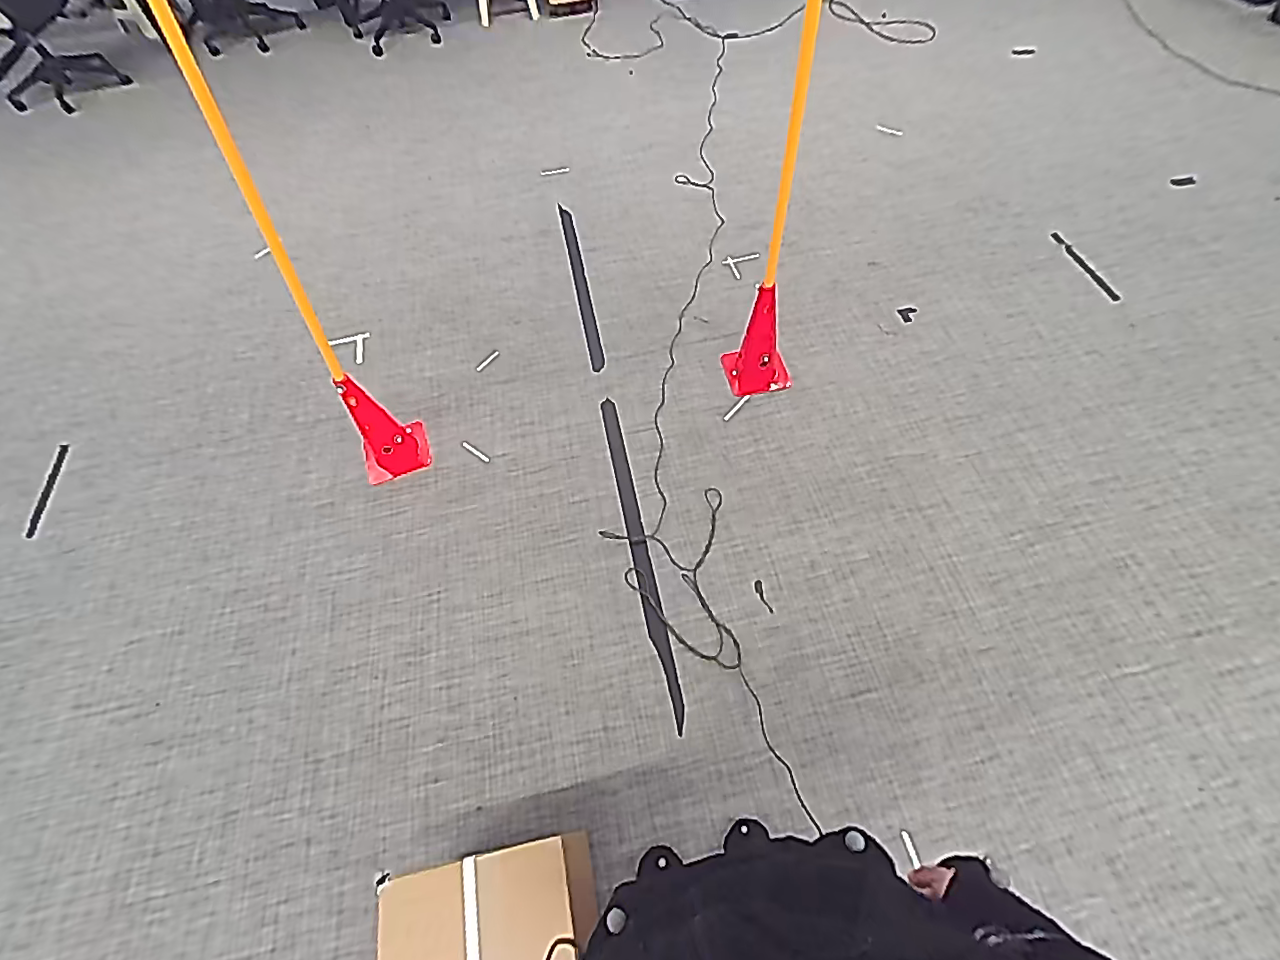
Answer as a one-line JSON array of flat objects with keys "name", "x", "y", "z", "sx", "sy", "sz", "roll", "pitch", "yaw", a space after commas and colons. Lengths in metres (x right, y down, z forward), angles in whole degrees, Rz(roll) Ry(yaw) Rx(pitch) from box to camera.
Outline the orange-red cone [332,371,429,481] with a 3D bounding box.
[{"name": "orange-red cone", "x": -0.796, "y": -0.185, "z": 1.593, "sx": 0.199, "sy": 0.360, "sz": 0.198, "roll": -20, "pitch": 59, "yaw": -7}]
